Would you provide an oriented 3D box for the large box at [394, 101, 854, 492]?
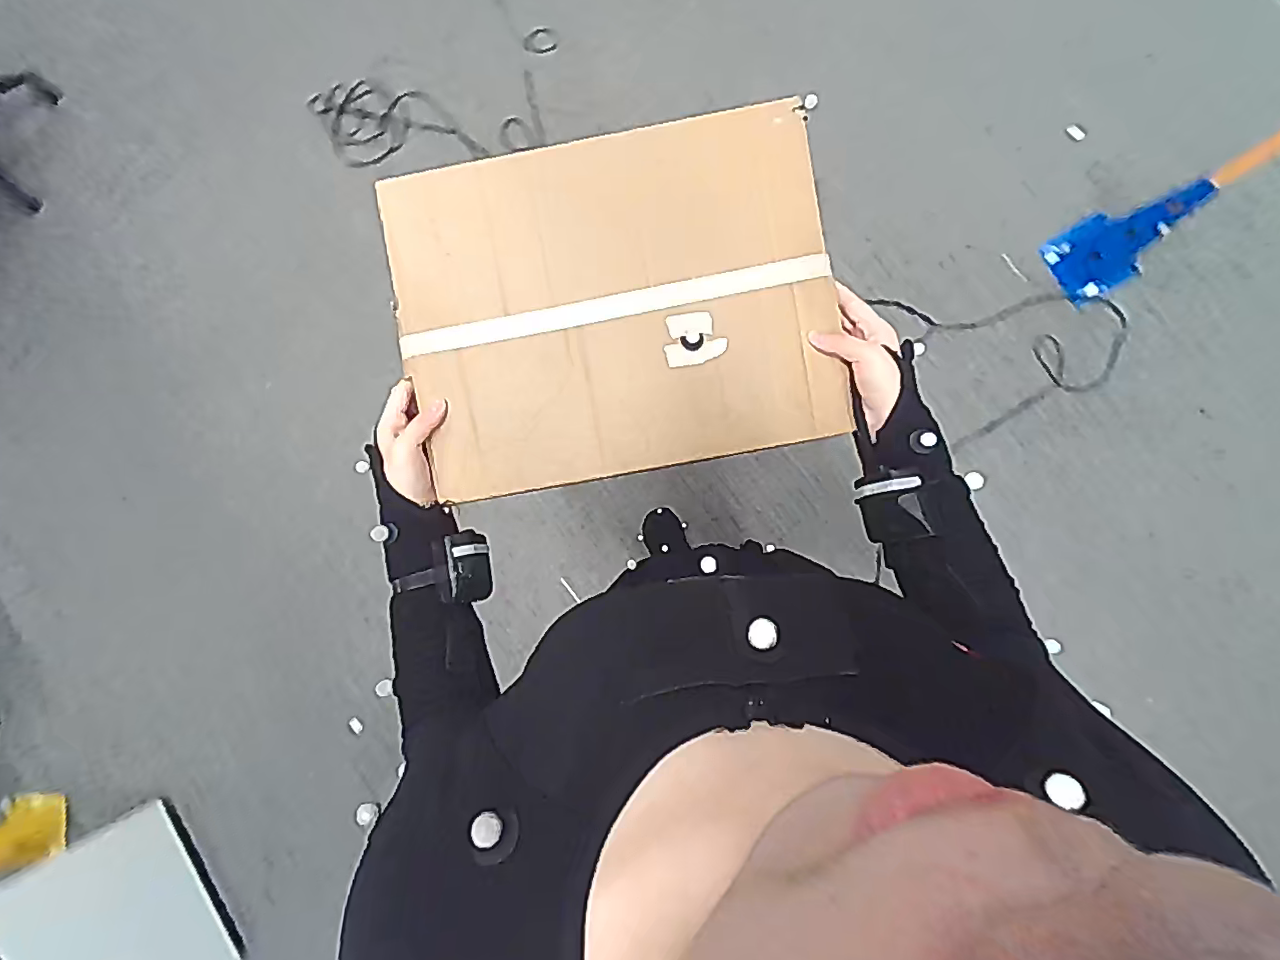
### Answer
[{"bbox_3d":[-0.015,-0.176,0.662,0.408,0.320,0.320,-9,92,1],"label":"large box"}]

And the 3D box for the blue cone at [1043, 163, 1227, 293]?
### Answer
[{"bbox_3d":[1.202,-0.628,1.306,0.192,0.380,0.193,-29,85,2],"label":"blue cone"}]
